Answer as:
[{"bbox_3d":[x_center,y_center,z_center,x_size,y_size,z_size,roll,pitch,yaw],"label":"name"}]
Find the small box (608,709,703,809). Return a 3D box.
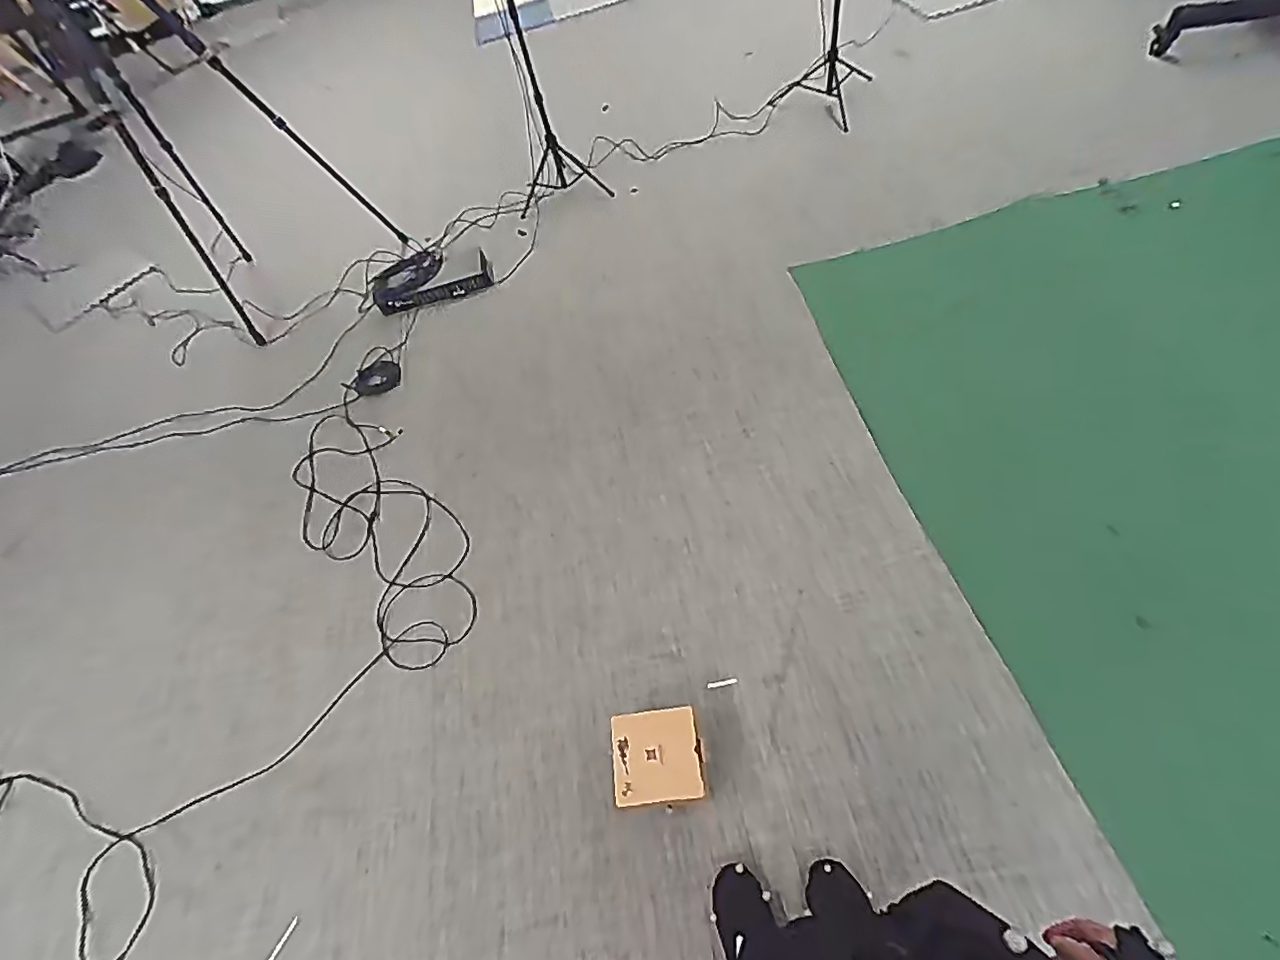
[{"bbox_3d":[0.037,0.593,1.143,0.179,0.176,0.168,-10,57,5],"label":"small box"}]
